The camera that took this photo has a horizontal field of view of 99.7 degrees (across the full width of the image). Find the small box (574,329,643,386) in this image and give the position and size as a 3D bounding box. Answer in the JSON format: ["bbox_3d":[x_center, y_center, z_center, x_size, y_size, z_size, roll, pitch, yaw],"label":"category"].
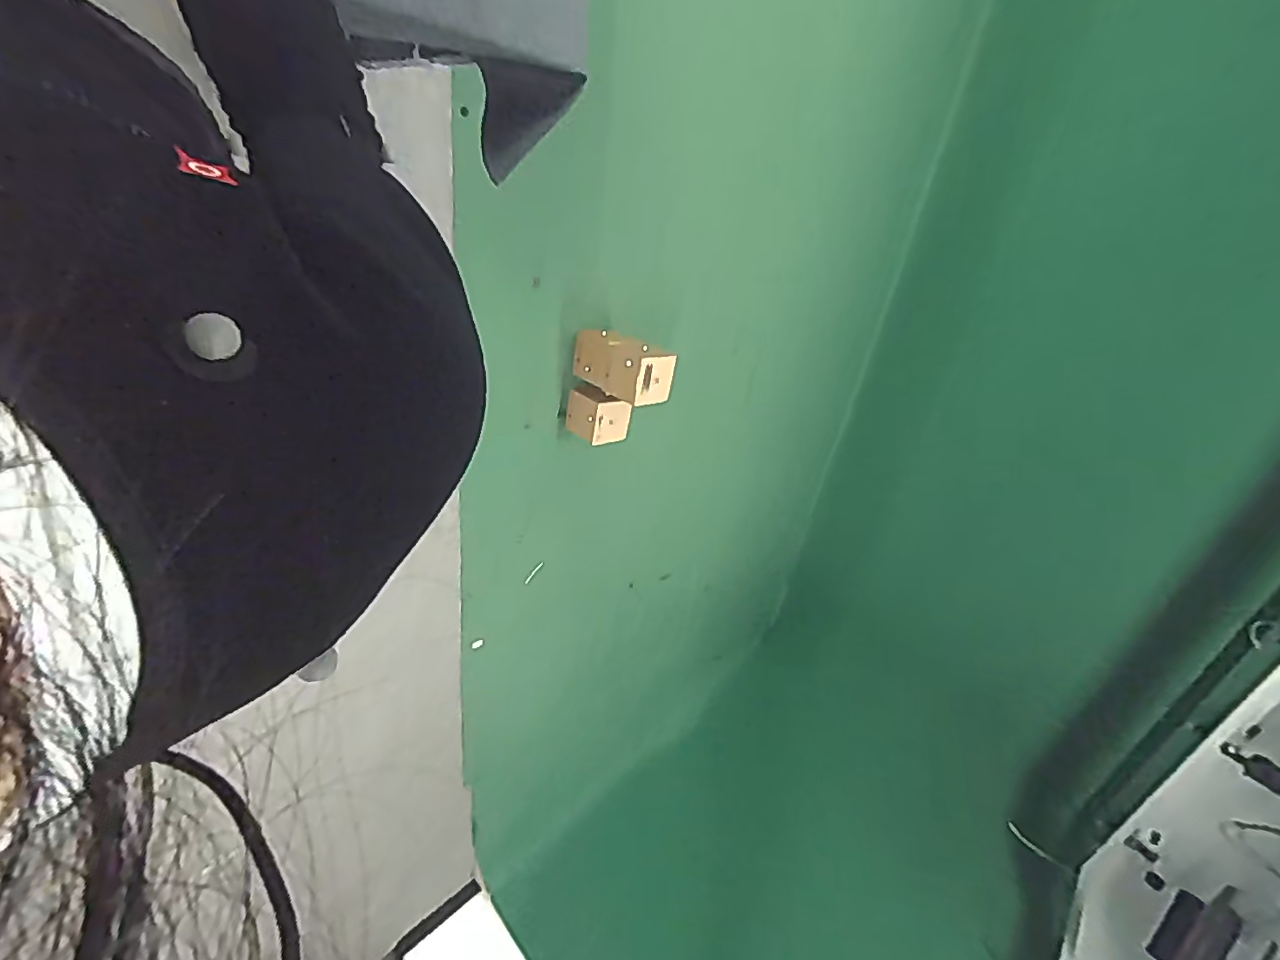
[{"bbox_3d":[-0.119,-0.446,1.966,0.179,0.176,0.168,-13,125,-44],"label":"small box"}]
